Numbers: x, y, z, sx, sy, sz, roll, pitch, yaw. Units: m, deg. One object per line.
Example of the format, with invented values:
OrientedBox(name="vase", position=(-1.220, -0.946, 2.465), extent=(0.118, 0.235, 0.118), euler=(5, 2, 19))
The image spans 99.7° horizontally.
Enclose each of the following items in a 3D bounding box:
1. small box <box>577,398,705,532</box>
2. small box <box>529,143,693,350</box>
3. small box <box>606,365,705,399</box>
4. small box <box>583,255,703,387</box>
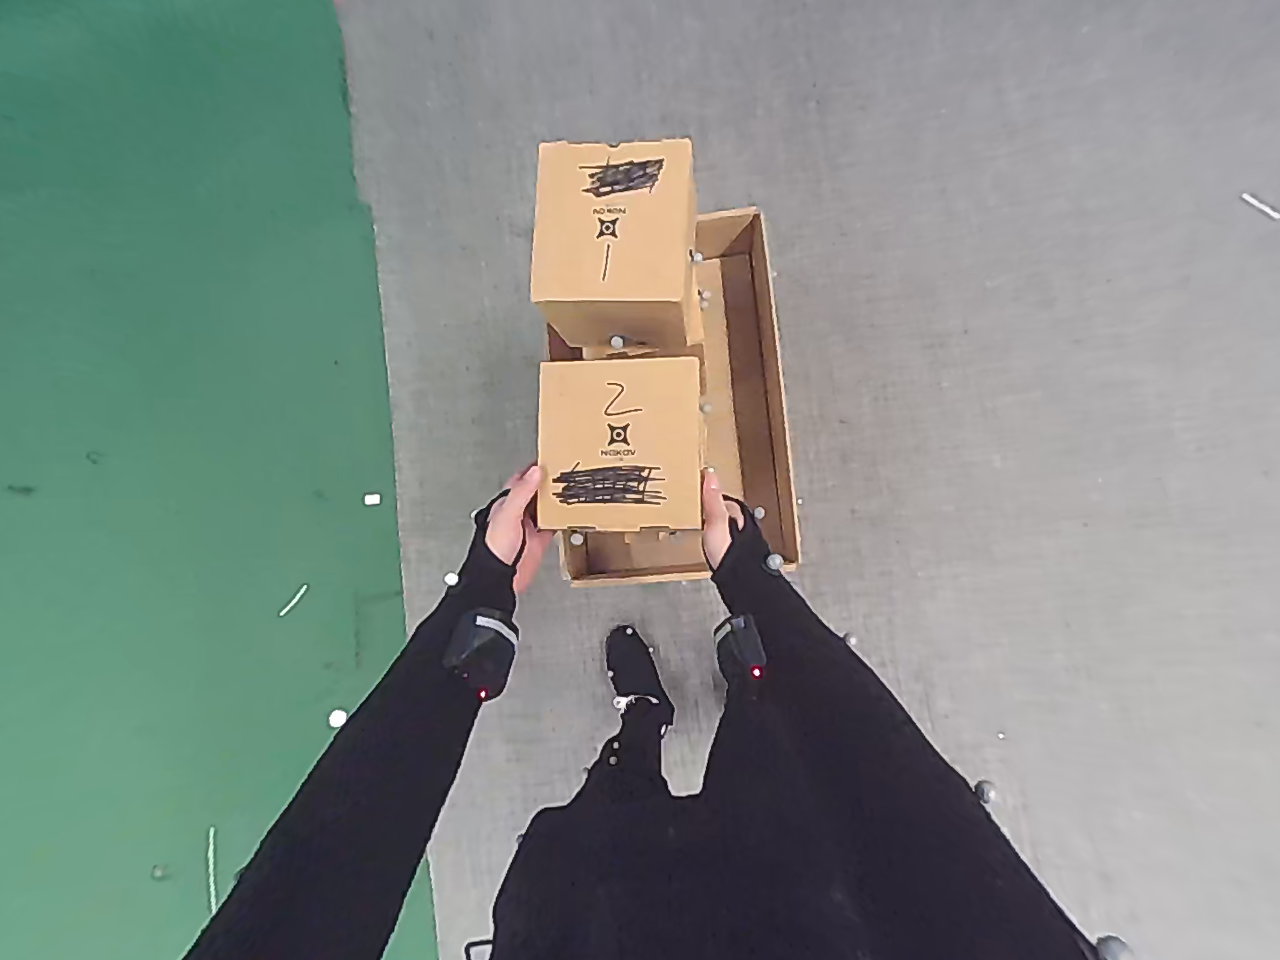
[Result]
OrientedBox(name="small box", position=(0.010, -0.013, 0.788), extent=(0.168, 0.176, 0.179), euler=(0, 83, 8))
OrientedBox(name="small box", position=(-0.024, -0.270, 0.655), extent=(0.168, 0.176, 0.179), euler=(3, 88, 8))
OrientedBox(name="small box", position=(0.027, -0.243, 0.976), extent=(0.168, 0.176, 0.179), euler=(-6, 85, 8))
OrientedBox(name="small box", position=(0.005, -0.254, 0.816), extent=(0.168, 0.176, 0.179), euler=(-7, 86, 7))
